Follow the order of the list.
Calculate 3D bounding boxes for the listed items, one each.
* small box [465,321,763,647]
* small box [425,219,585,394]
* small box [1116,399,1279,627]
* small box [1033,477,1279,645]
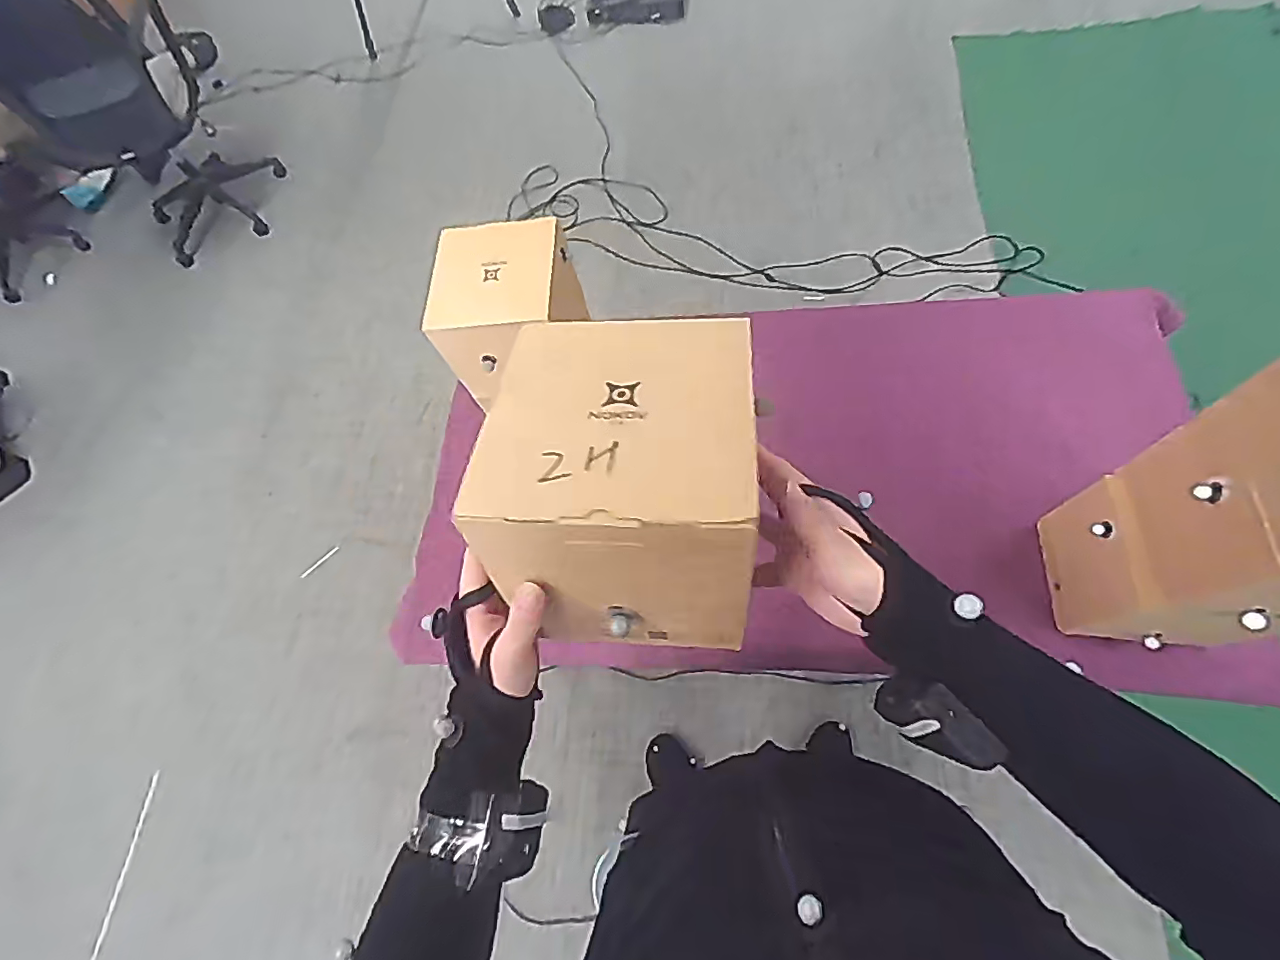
[{"bbox_3d":[-0.003,0.004,0.400,0.168,0.176,0.179,2,53,7],"label":"small box"},{"bbox_3d":[-0.179,-0.236,0.774,0.168,0.176,0.179,-3,66,7],"label":"small box"},{"bbox_3d":[0.626,0.039,0.537,0.168,0.176,0.179,3,67,11],"label":"small box"},{"bbox_3d":[0.646,0.108,0.683,0.179,0.176,0.168,3,66,10],"label":"small box"}]
